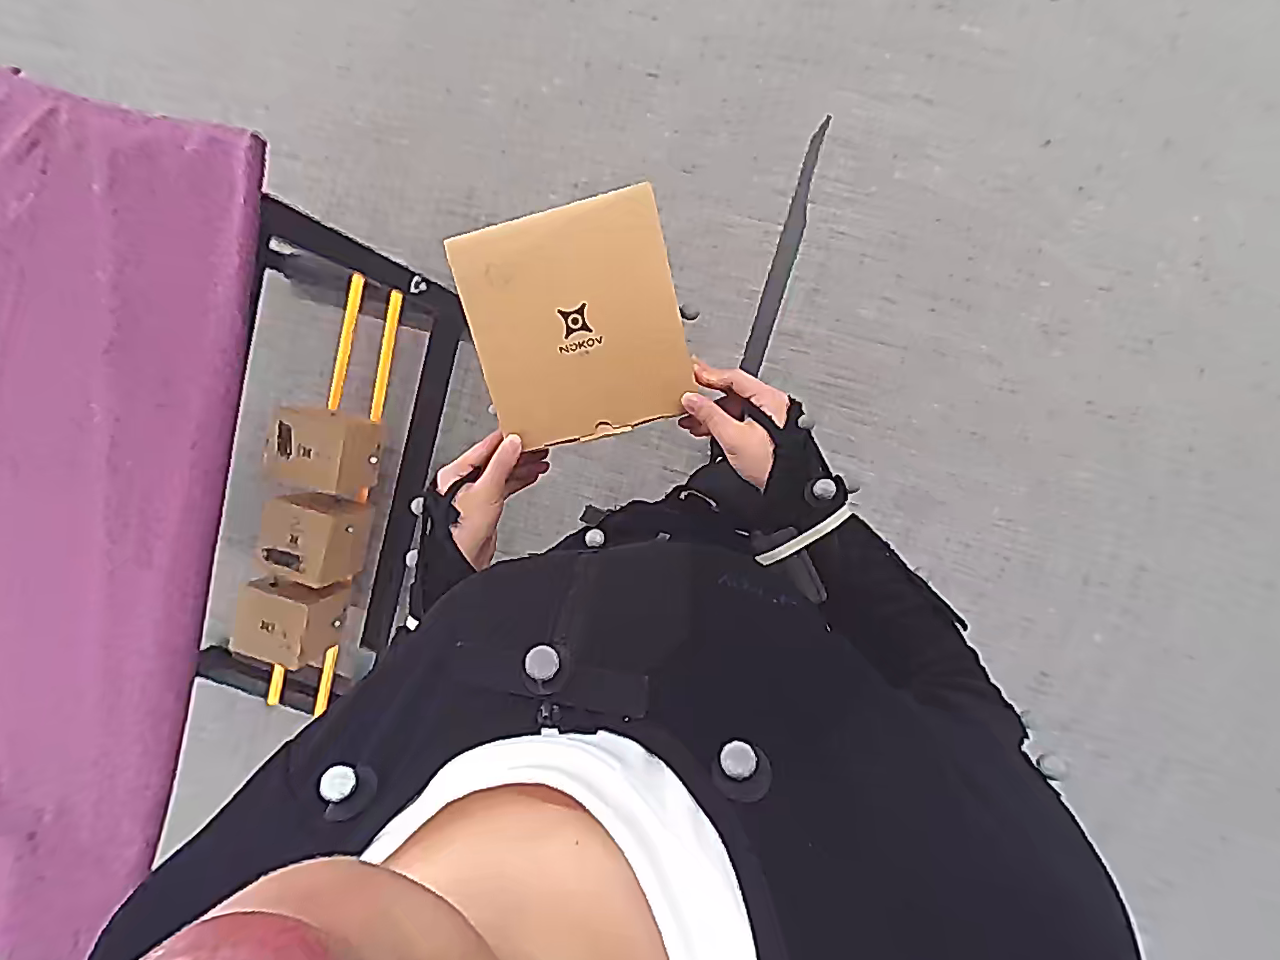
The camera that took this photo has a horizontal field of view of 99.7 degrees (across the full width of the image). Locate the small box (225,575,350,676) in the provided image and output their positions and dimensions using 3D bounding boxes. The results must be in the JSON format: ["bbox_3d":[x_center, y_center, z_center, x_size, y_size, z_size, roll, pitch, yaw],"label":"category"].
[{"bbox_3d":[-0.852,0.344,1.318,0.179,0.176,0.168,16,96,3],"label":"small box"}]

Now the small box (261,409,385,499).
[{"bbox_3d":[-0.739,-0.064,1.272,0.179,0.176,0.168,14,98,3],"label":"small box"}]

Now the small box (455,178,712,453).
[{"bbox_3d":[-0.040,-0.138,0.491,0.168,0.176,0.179,-13,103,4],"label":"small box"}]
